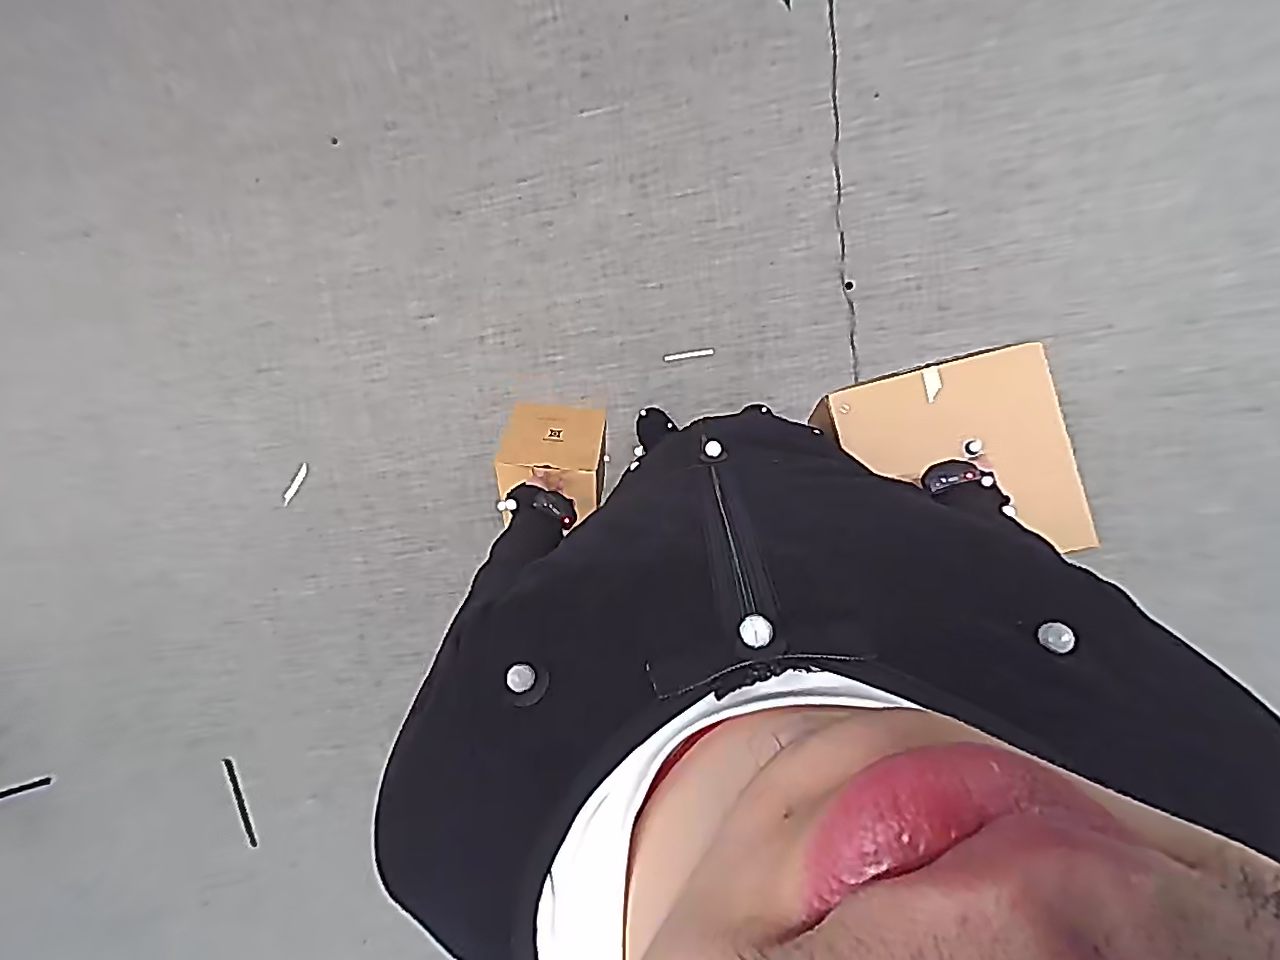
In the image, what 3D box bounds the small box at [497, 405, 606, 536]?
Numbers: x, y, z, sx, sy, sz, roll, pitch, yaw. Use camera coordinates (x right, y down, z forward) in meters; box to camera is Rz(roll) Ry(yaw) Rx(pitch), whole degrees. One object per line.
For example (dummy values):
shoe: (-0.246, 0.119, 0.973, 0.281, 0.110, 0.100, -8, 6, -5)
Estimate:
small box: (-0.154, -0.015, 0.995, 0.168, 0.179, 0.176, 5, 131, -1)
